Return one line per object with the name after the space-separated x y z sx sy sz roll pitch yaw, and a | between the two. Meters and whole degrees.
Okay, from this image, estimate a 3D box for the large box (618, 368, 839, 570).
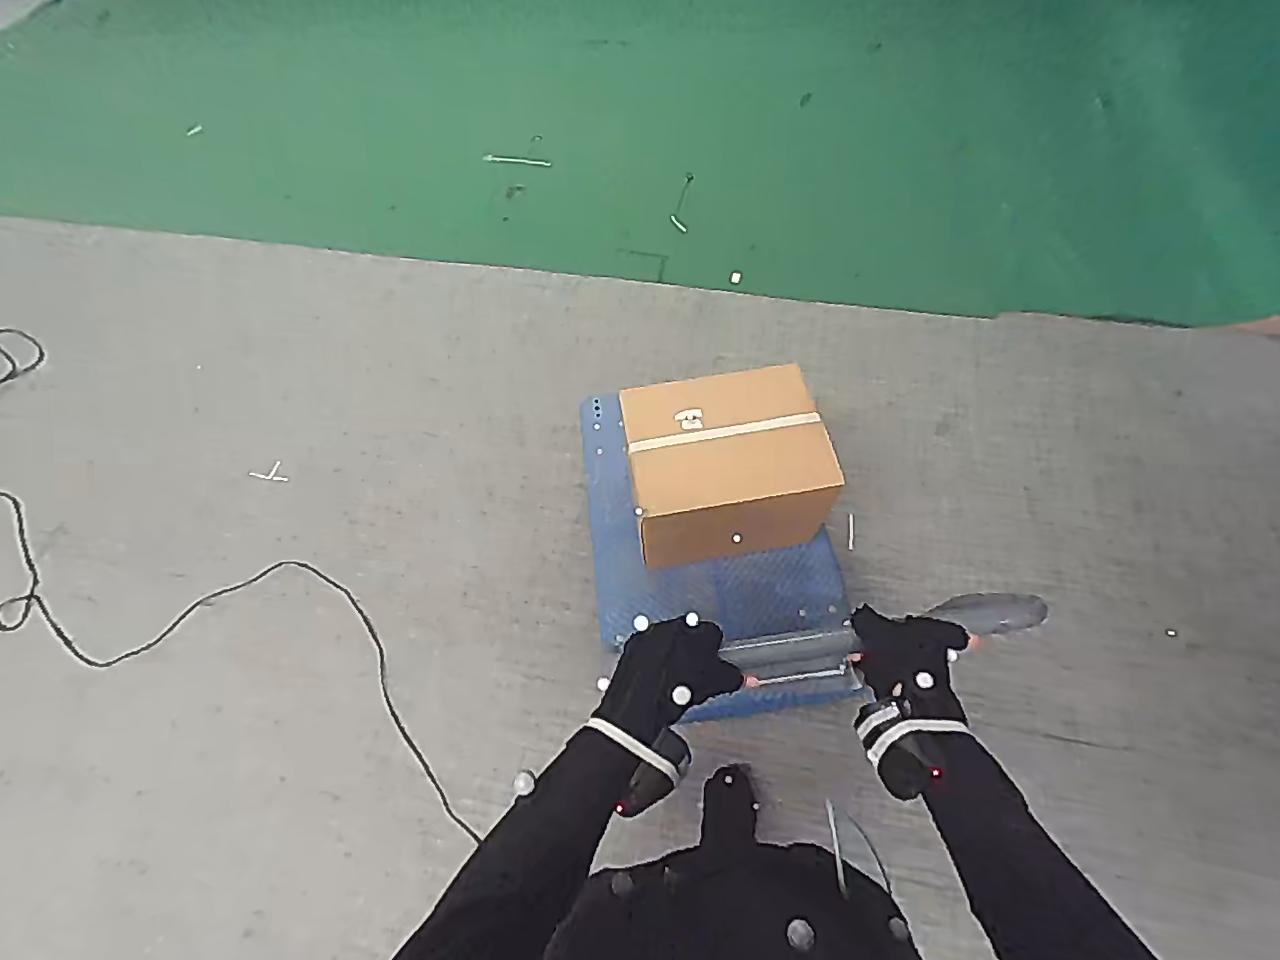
0.180 -0.014 1.252 0.408 0.320 0.320 -10 61 -3 | large box
